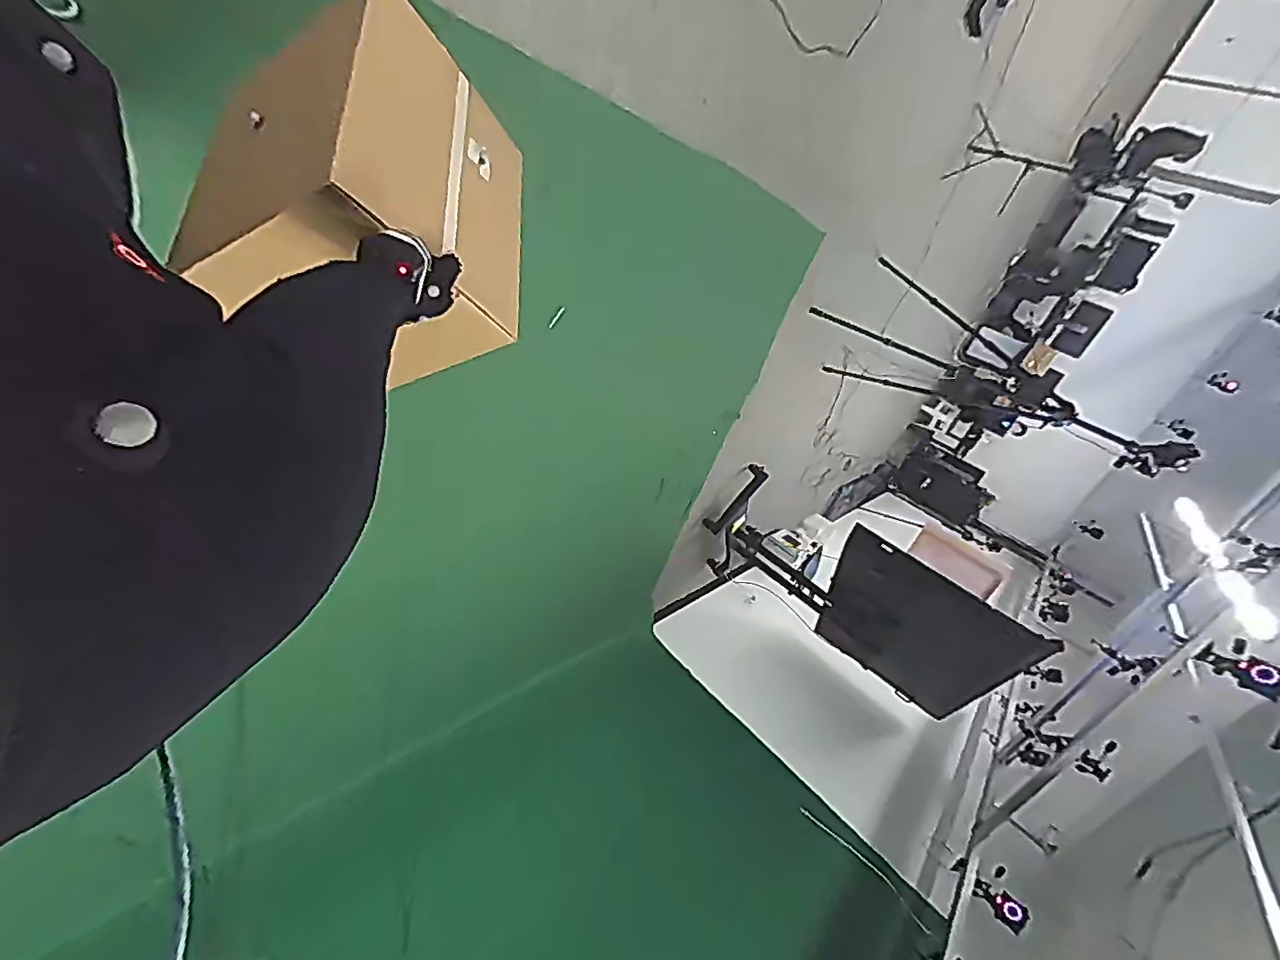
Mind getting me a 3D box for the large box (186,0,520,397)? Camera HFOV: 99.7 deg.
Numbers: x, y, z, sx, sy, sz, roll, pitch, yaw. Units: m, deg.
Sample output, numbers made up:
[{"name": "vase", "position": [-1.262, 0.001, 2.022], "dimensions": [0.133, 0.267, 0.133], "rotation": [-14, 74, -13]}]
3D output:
[{"name": "large box", "position": [-0.402, -0.399, 0.828], "dimensions": [0.320, 0.408, 0.320], "rotation": [-14, 156, 22]}]
